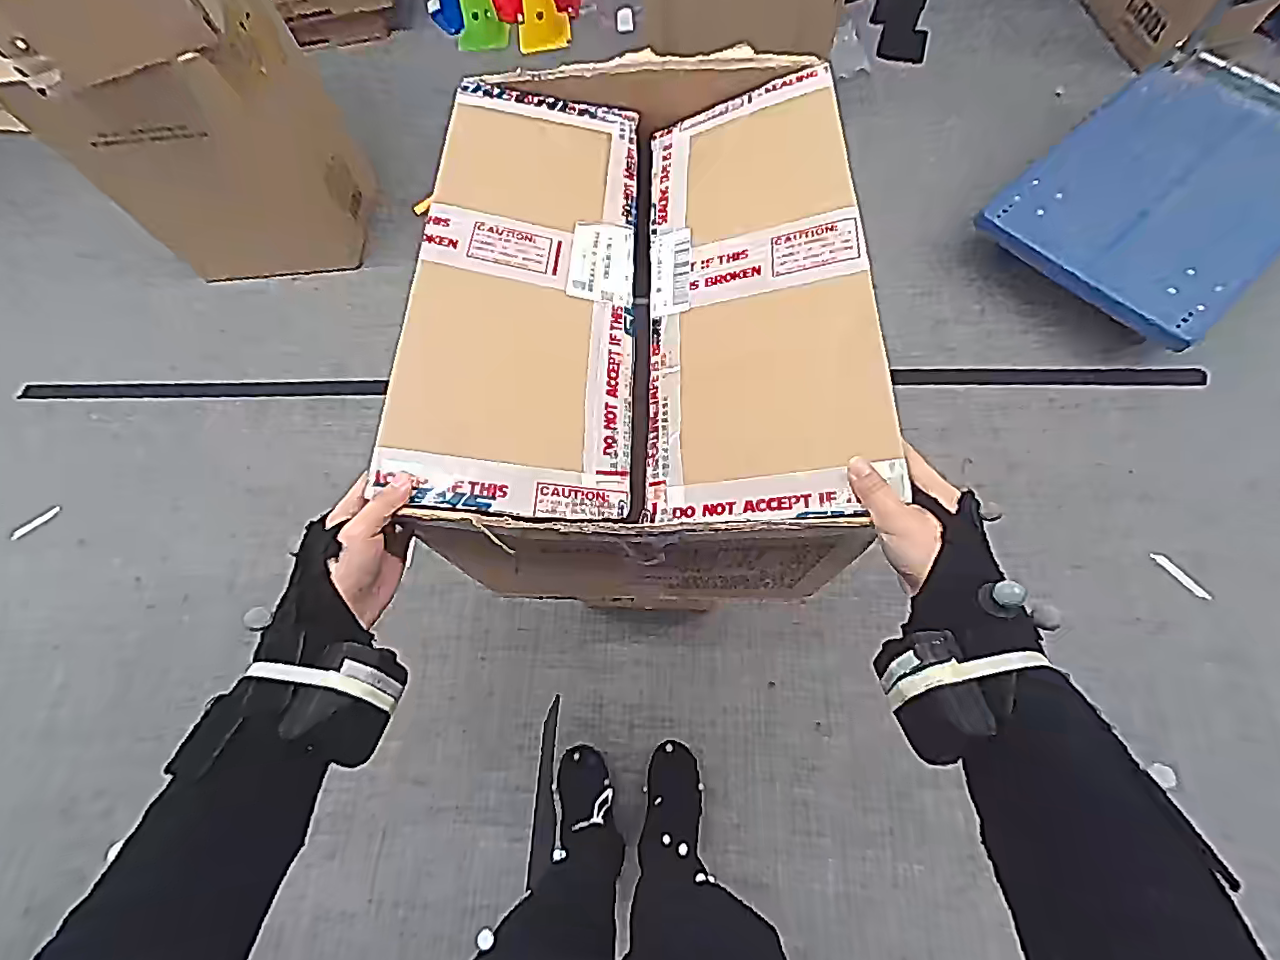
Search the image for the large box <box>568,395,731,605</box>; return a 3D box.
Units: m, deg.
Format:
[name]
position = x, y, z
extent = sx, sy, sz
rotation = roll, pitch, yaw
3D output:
[large box]
position = 0.025, 0.059, 1.213
extent = 0.320, 0.320, 0.408
rotation = -1, 70, 5
